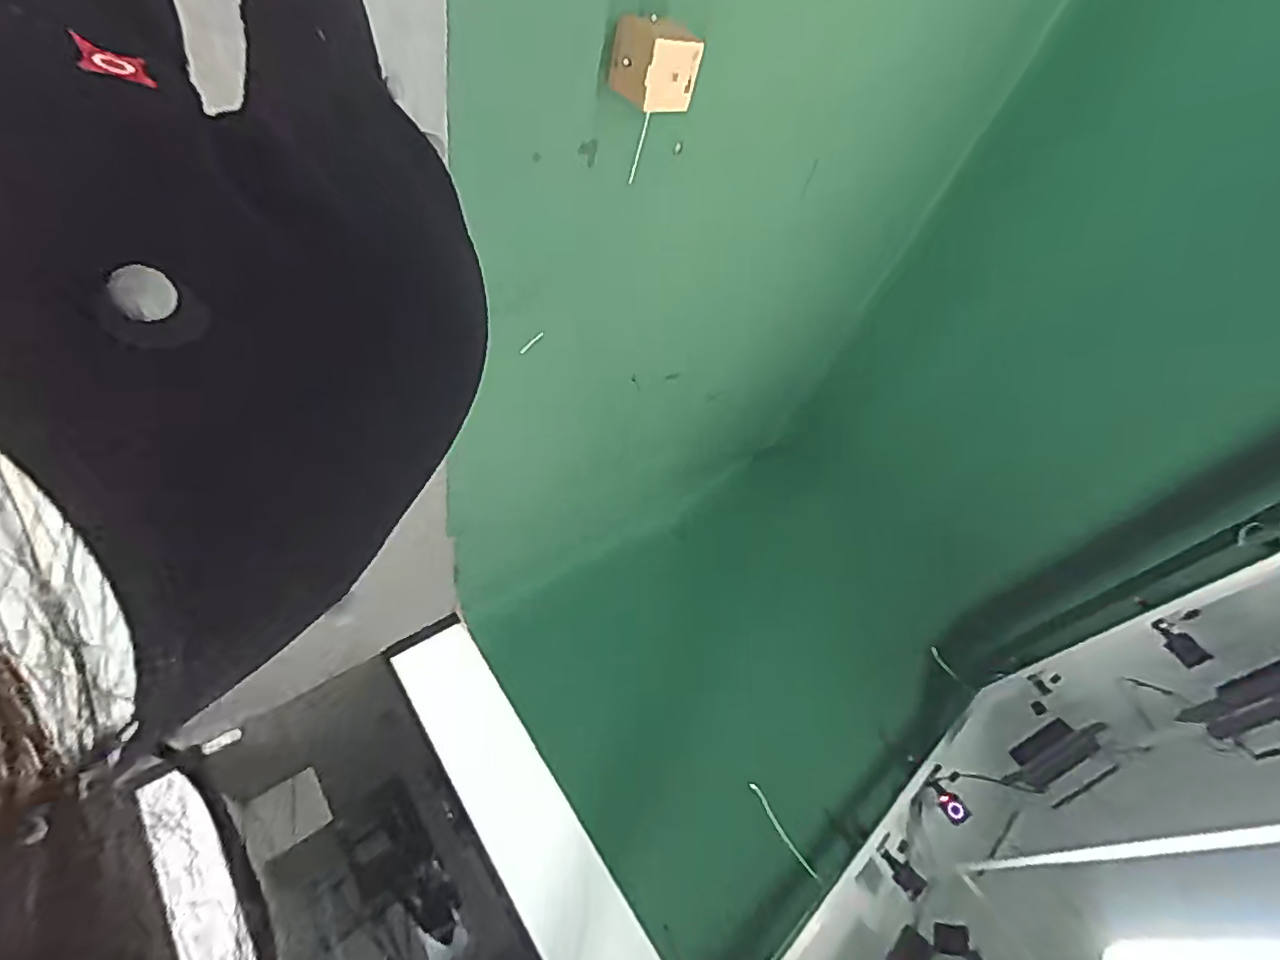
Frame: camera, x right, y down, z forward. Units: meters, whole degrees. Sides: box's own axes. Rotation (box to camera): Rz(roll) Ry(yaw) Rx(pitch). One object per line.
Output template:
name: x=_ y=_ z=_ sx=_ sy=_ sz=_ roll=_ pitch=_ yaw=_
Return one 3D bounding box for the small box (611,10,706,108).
small box: x=0.043 y=-1.153 z=1.483 sx=0.179 sy=0.176 sz=0.168 roll=-23 pitch=153 yaw=-32
